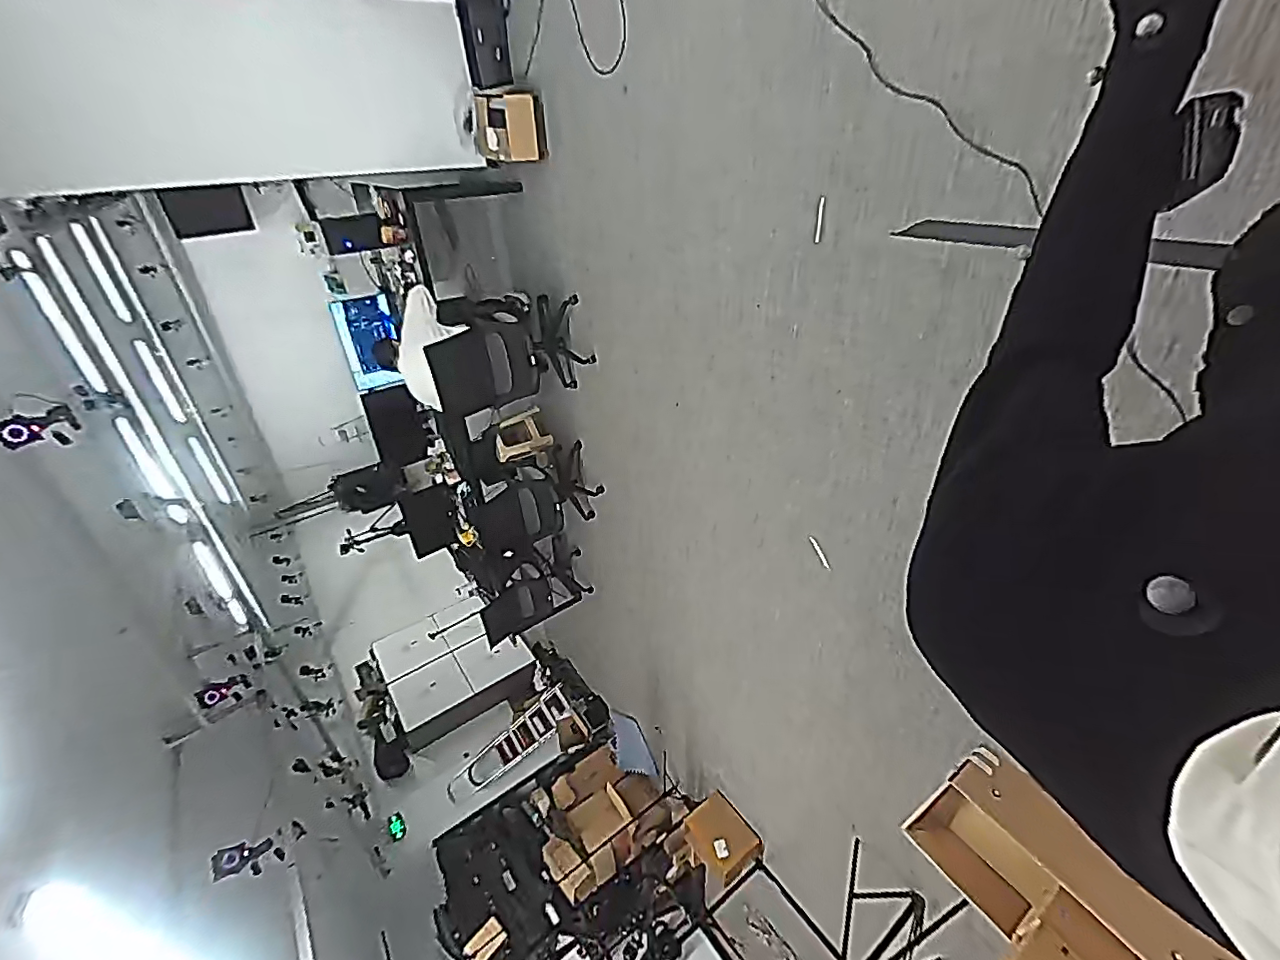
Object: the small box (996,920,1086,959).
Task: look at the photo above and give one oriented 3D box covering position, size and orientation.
[{"bbox_3d":[0.988,1.230,1.316,0.168,0.176,0.179,41,144,40],"label":"small box"}]
